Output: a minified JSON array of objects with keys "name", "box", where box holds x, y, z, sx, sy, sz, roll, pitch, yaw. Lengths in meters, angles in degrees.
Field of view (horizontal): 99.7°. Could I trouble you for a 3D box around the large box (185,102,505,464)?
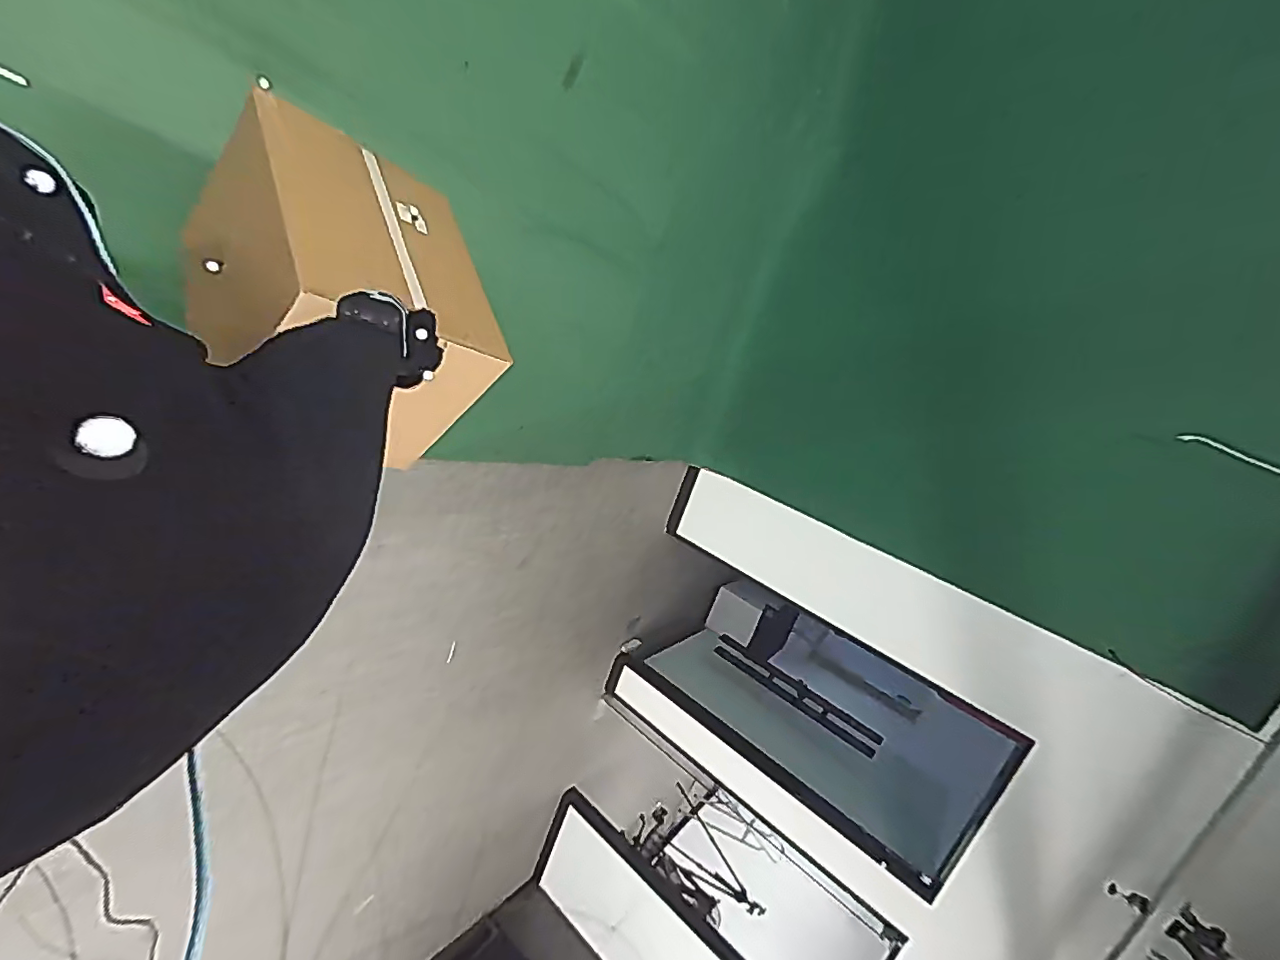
[{"name":"large box","box":[-0.487,-0.278,0.881,0.320,0.408,0.320,-37,156,26]}]
